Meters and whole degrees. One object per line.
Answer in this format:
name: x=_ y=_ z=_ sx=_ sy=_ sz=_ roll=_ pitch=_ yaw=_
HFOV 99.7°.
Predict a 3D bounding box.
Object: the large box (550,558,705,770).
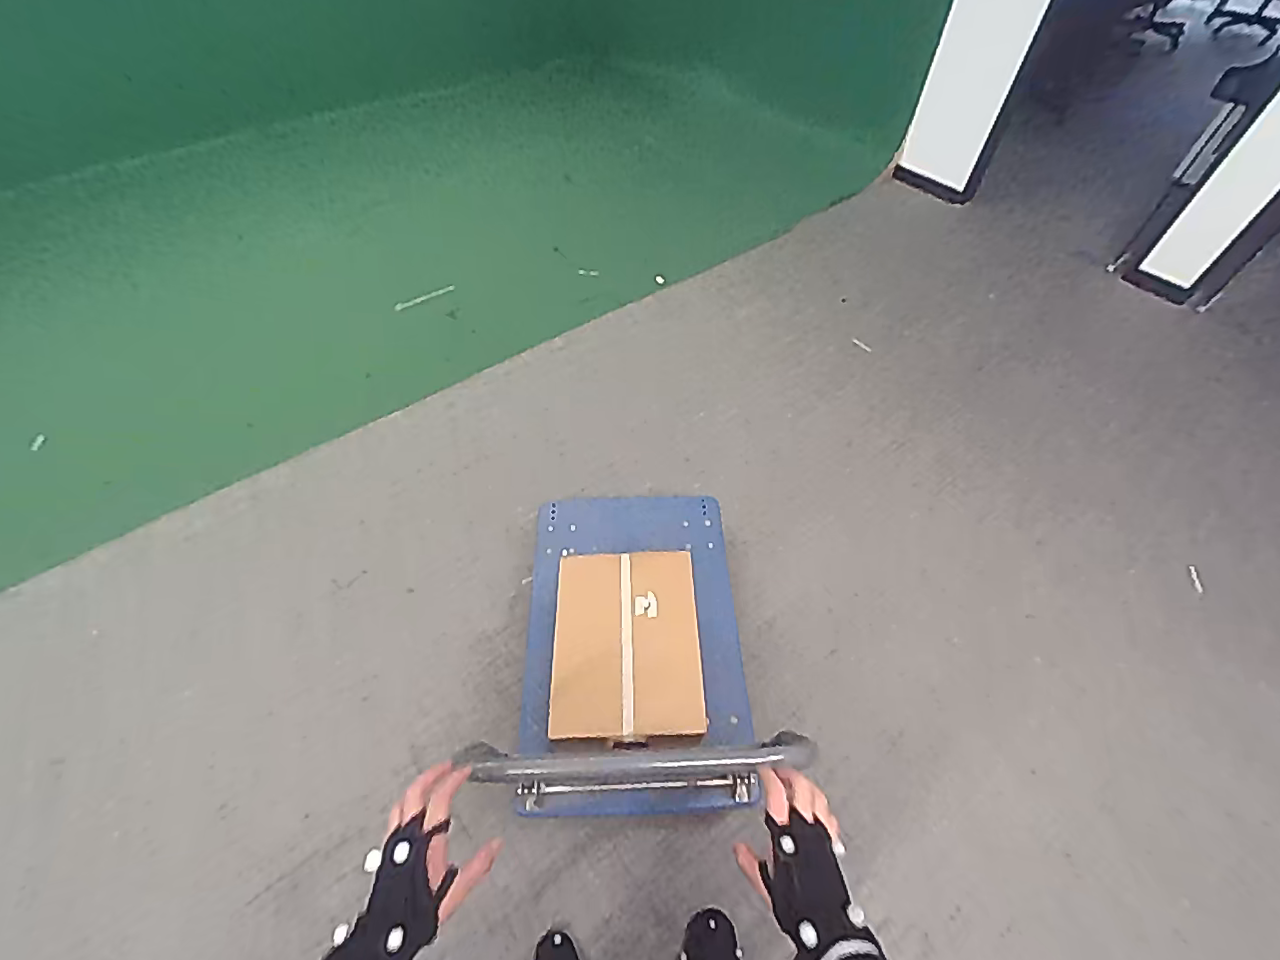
large box: x=-0.027 y=0.443 z=1.301 sx=0.320 sy=0.320 sz=0.408 roll=-2 pitch=52 yaw=0
